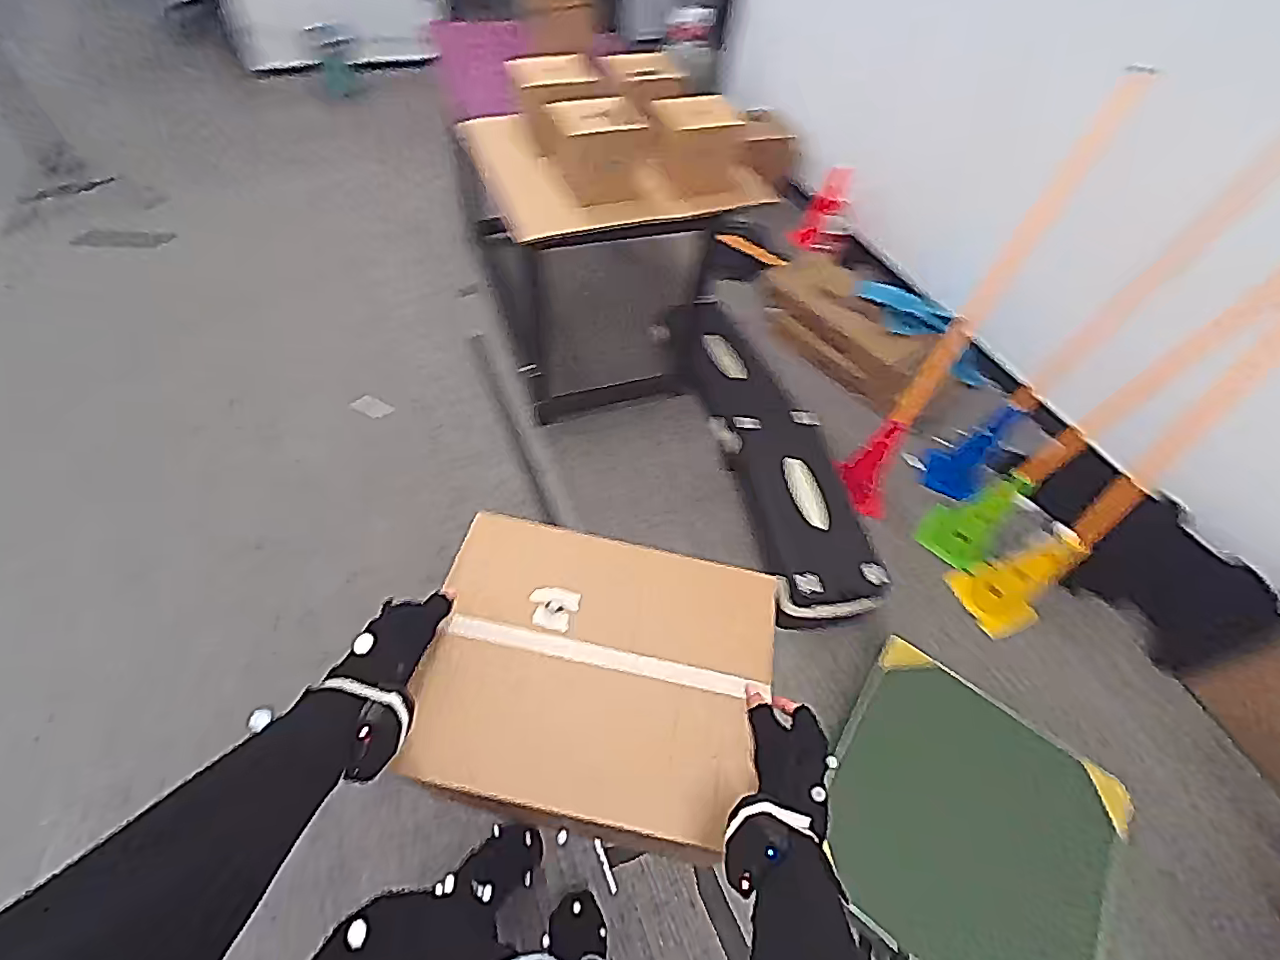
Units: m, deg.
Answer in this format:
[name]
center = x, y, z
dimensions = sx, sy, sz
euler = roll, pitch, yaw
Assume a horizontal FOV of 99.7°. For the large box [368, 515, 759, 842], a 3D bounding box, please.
[large box]
center = -0.071, 0.287, 0.754
dimensions = 0.408, 0.320, 0.320
euler = 11, 53, 2
